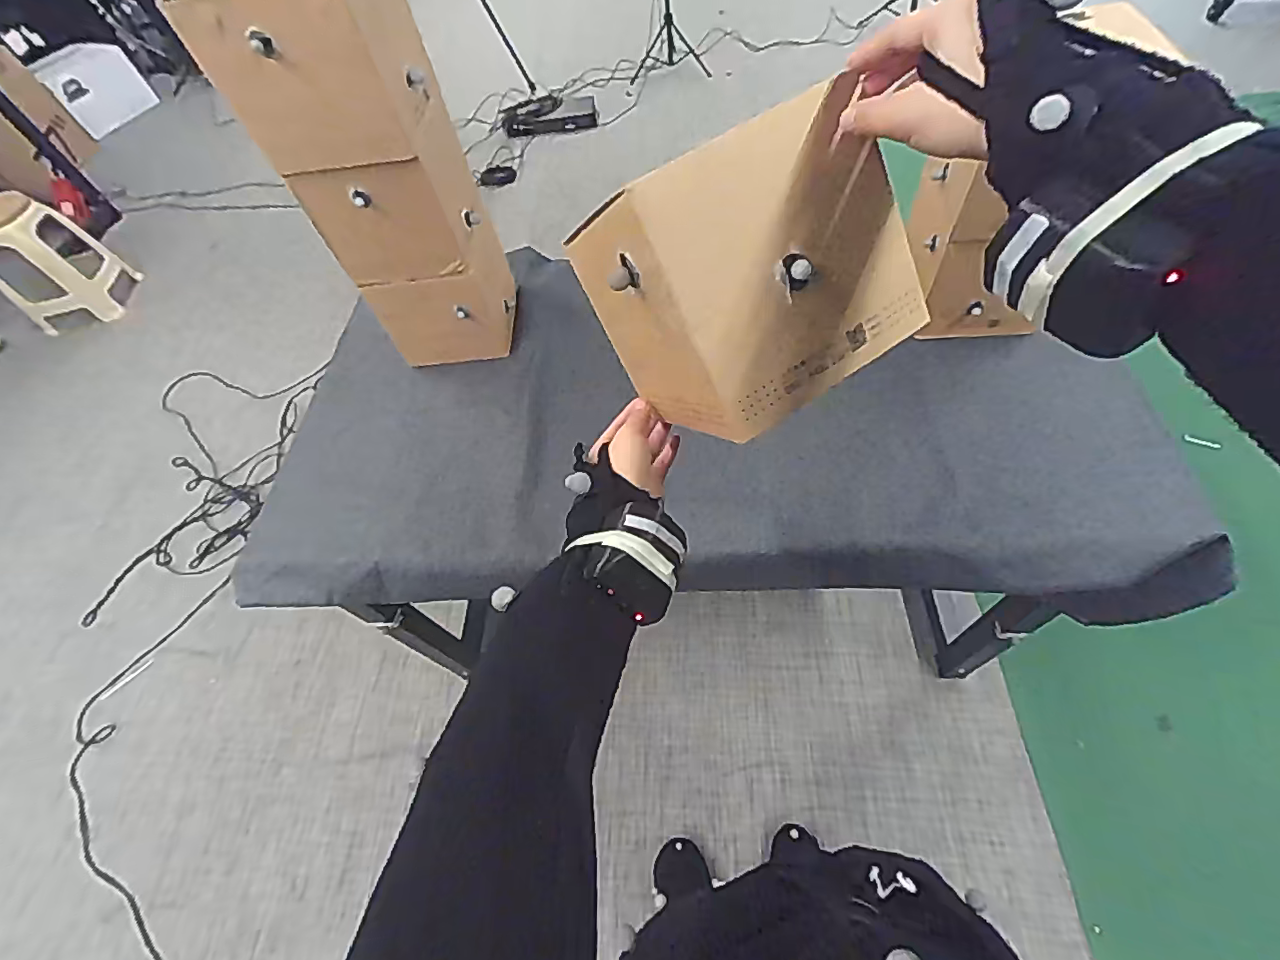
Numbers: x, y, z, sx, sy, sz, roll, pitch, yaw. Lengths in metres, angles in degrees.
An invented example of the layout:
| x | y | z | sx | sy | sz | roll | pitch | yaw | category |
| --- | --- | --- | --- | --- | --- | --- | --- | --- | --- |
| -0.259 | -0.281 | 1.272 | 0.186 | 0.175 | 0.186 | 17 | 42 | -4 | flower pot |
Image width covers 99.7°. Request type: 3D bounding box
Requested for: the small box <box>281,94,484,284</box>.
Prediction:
| x | y | z | sx | sy | sz | roll | pitch | yaw | category |
| --- | --- | --- | --- | --- | --- | --- | --- | --- | --- |
| -0.336 | -0.392 | 0.745 | 0.179 | 0.176 | 0.168 | -5 | 59 | 3 | small box |

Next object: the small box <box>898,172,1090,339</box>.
| x | y | z | sx | sy | sz | roll | pitch | yaw | category |
| --- | --- | --- | --- | --- | --- | --- | --- | --- | --- |
| 0.482 | -0.325 | 0.777 | 0.168 | 0.176 | 0.179 | 0 | 59 | 8 | small box |

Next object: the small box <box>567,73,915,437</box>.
| x | y | z | sx | sy | sz | roll | pitch | yaw | category |
| --- | --- | --- | --- | --- | --- | --- | --- | --- | --- |
| 0.070 | -0.148 | 0.410 | 0.168 | 0.176 | 0.179 | -32 | 20 | -10 | small box |

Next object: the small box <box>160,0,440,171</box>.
| x | y | z | sx | sy | sz | roll | pitch | yaw | category |
| --- | --- | --- | --- | --- | --- | --- | --- | --- | --- |
| -0.352 | -0.470 | 0.601 | 0.179 | 0.176 | 0.168 | -3 | 59 | 5 | small box |

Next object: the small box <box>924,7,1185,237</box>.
| x | y | z | sx | sy | sz | roll | pitch | yaw | category |
| --- | --- | --- | --- | --- | --- | --- | --- | --- | --- |
| 0.458 | -0.407 | 0.637 | 0.168 | 0.176 | 0.179 | 0 | 60 | 8 | small box |
